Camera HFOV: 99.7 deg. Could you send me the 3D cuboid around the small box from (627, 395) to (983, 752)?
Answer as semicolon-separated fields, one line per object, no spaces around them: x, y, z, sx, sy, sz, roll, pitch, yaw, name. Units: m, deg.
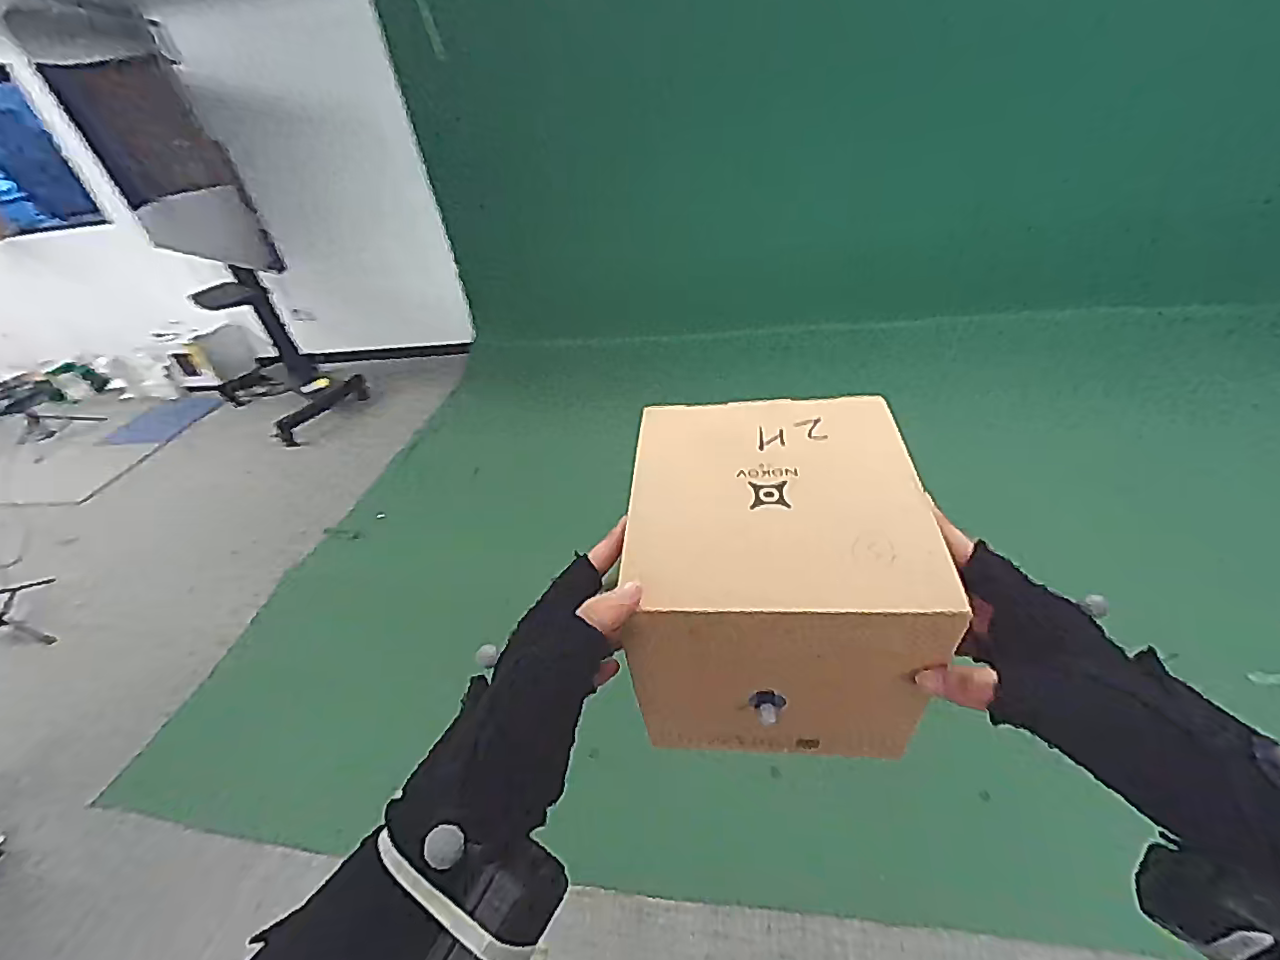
0.092;0.063;0.364;0.168;0.176;0.179;0;43;8;small box
